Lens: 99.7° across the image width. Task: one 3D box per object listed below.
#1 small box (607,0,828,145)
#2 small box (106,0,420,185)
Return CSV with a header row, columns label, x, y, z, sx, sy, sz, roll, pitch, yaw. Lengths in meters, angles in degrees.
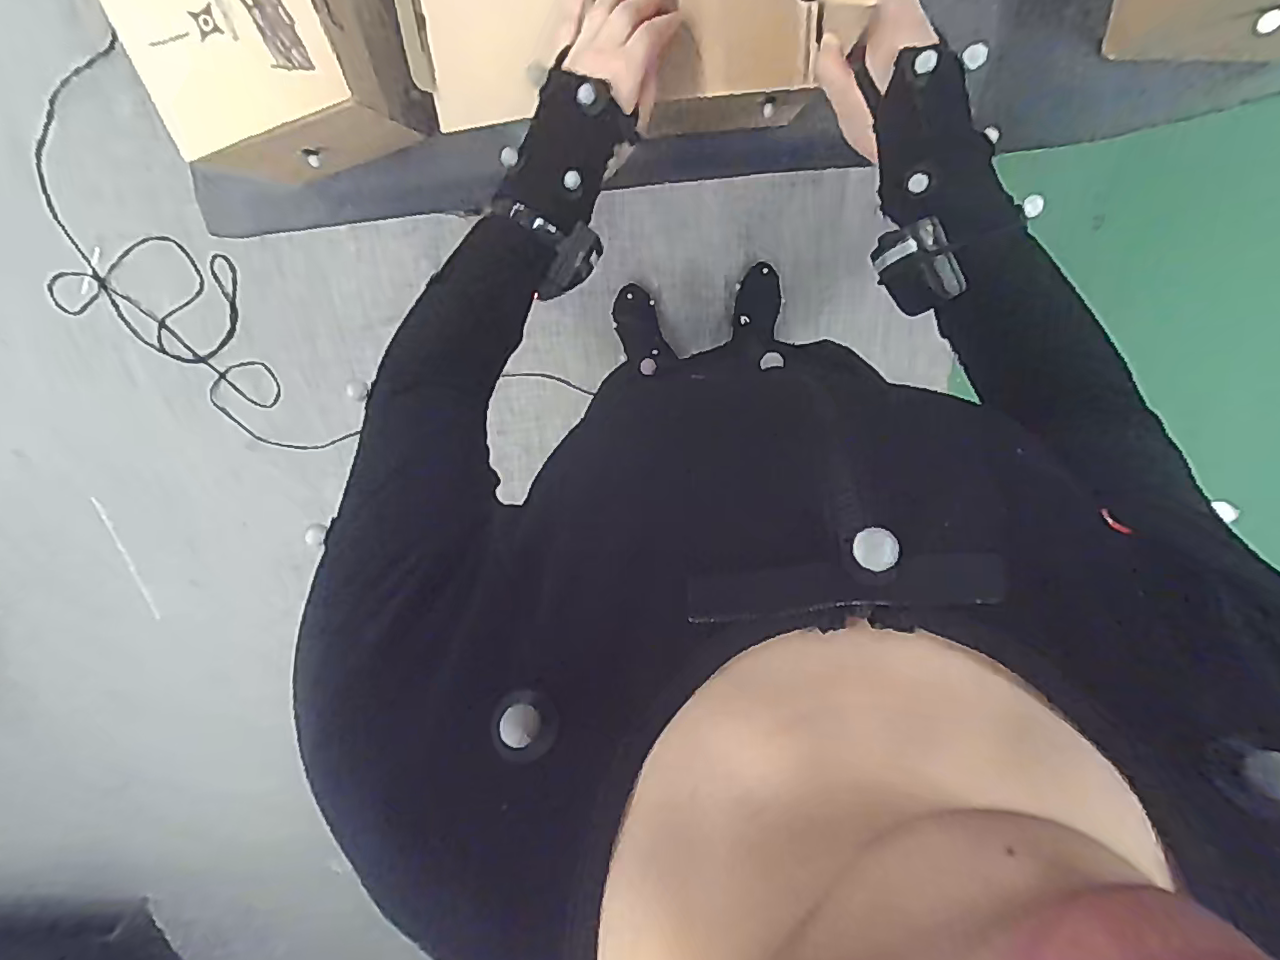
label,x,y,z,sx,sy,sz,roll,pitch,yaw
small box,0.065,-0.421,0.495,0.179,0.176,0.168,-3,114,6
small box,-0.341,-0.404,0.523,0.179,0.176,0.168,-13,112,9
